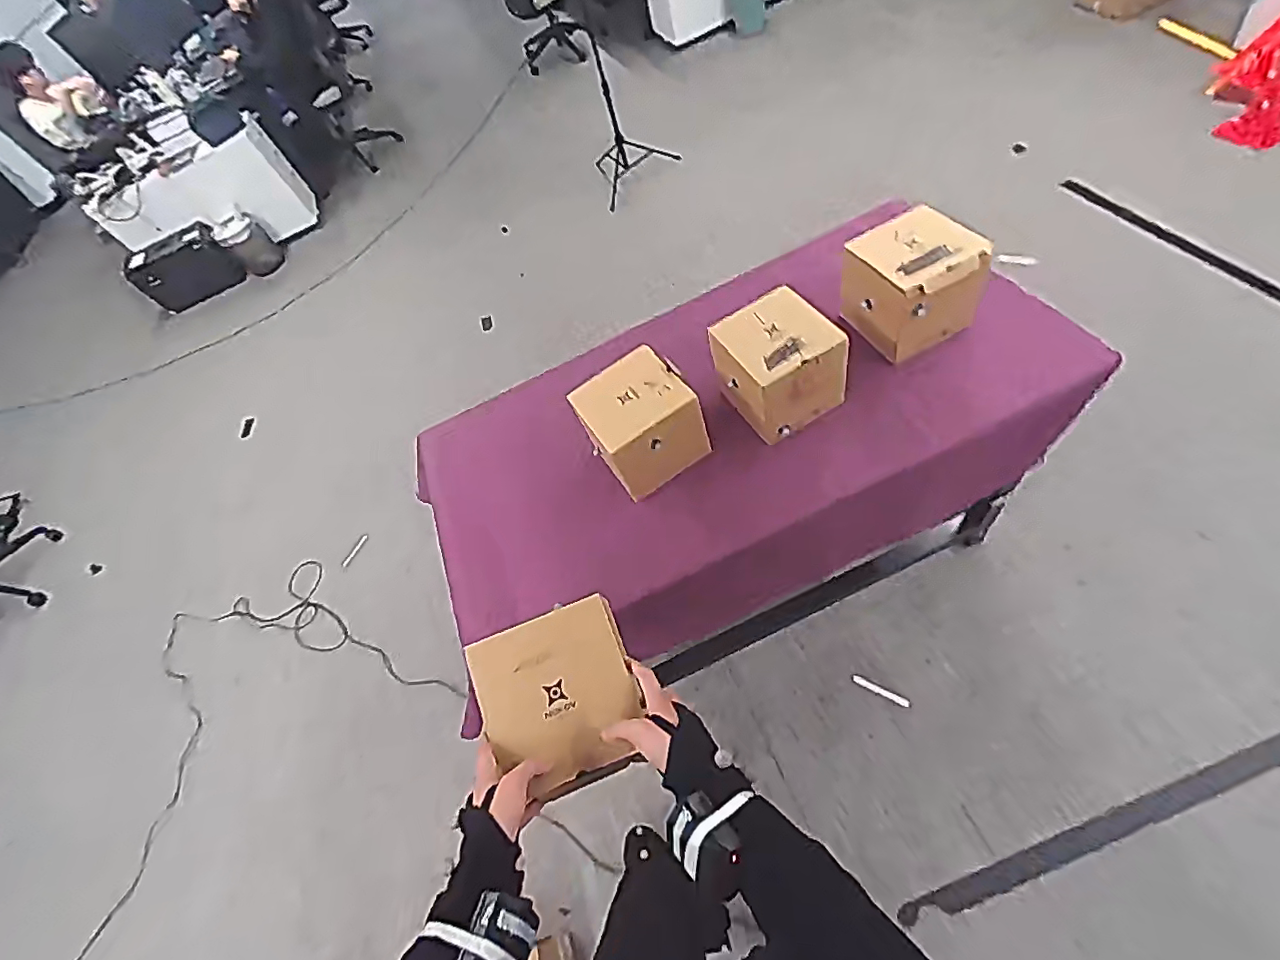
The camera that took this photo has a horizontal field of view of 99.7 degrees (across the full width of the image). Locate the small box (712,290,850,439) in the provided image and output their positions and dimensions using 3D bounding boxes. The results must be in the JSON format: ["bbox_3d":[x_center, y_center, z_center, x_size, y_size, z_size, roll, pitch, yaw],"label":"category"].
[{"bbox_3d":[0.253,-0.198,0.975,0.168,0.176,0.179,-30,54,-3],"label":"small box"}]

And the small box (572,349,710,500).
[{"bbox_3d":[0.008,-0.095,0.984,0.179,0.176,0.168,-33,56,-5],"label":"small box"}]

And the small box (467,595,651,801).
[{"bbox_3d":[-0.090,0.255,0.673,0.168,0.176,0.179,-20,76,-6],"label":"small box"}]
